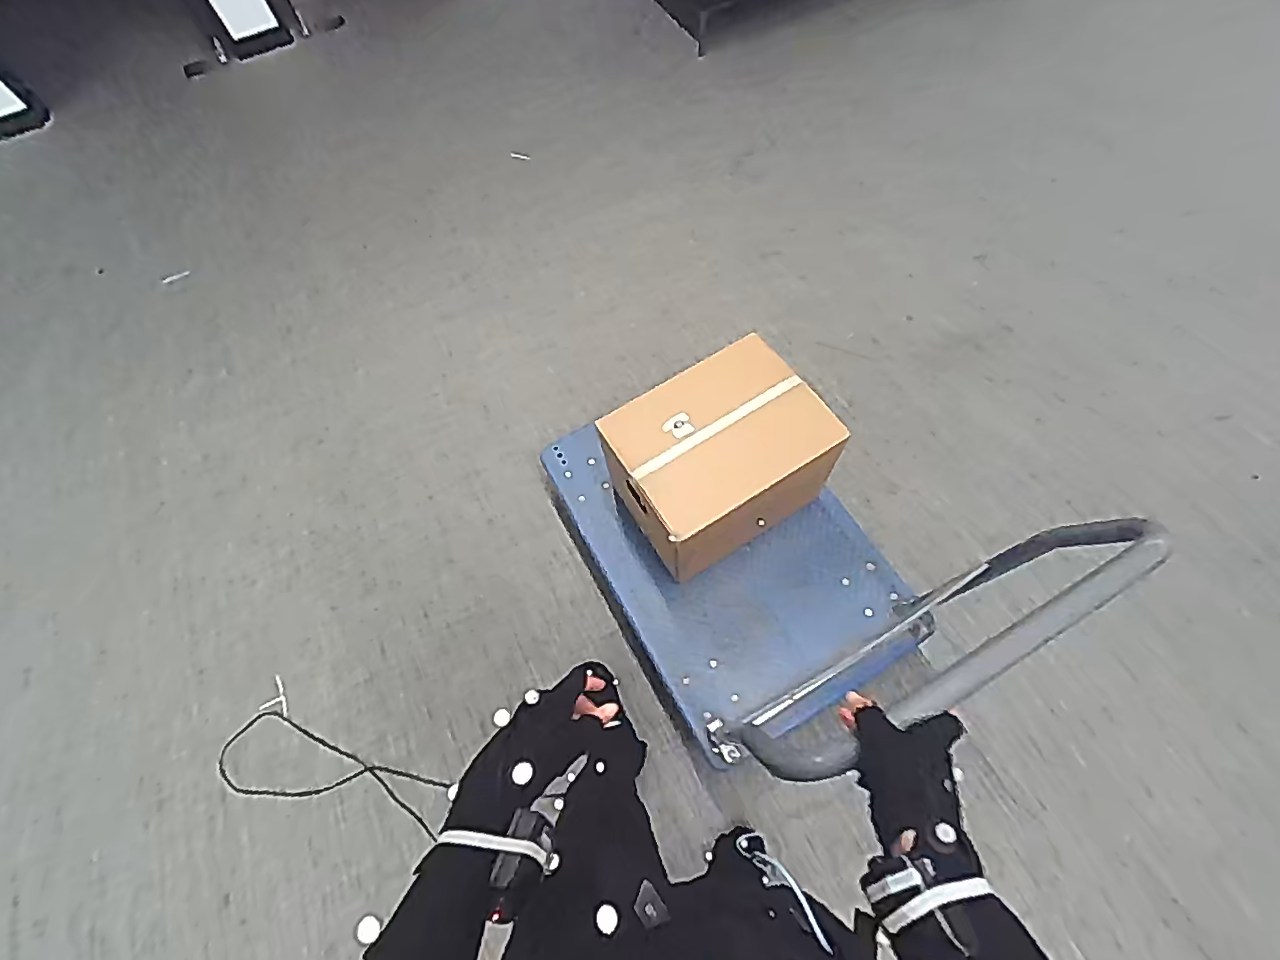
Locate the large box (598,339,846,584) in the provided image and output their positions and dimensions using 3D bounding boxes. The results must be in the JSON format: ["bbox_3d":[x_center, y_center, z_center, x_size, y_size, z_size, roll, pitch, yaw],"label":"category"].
[{"bbox_3d":[0.172,-0.030,1.209,0.408,0.320,0.320,-32,65,-9],"label":"large box"}]
